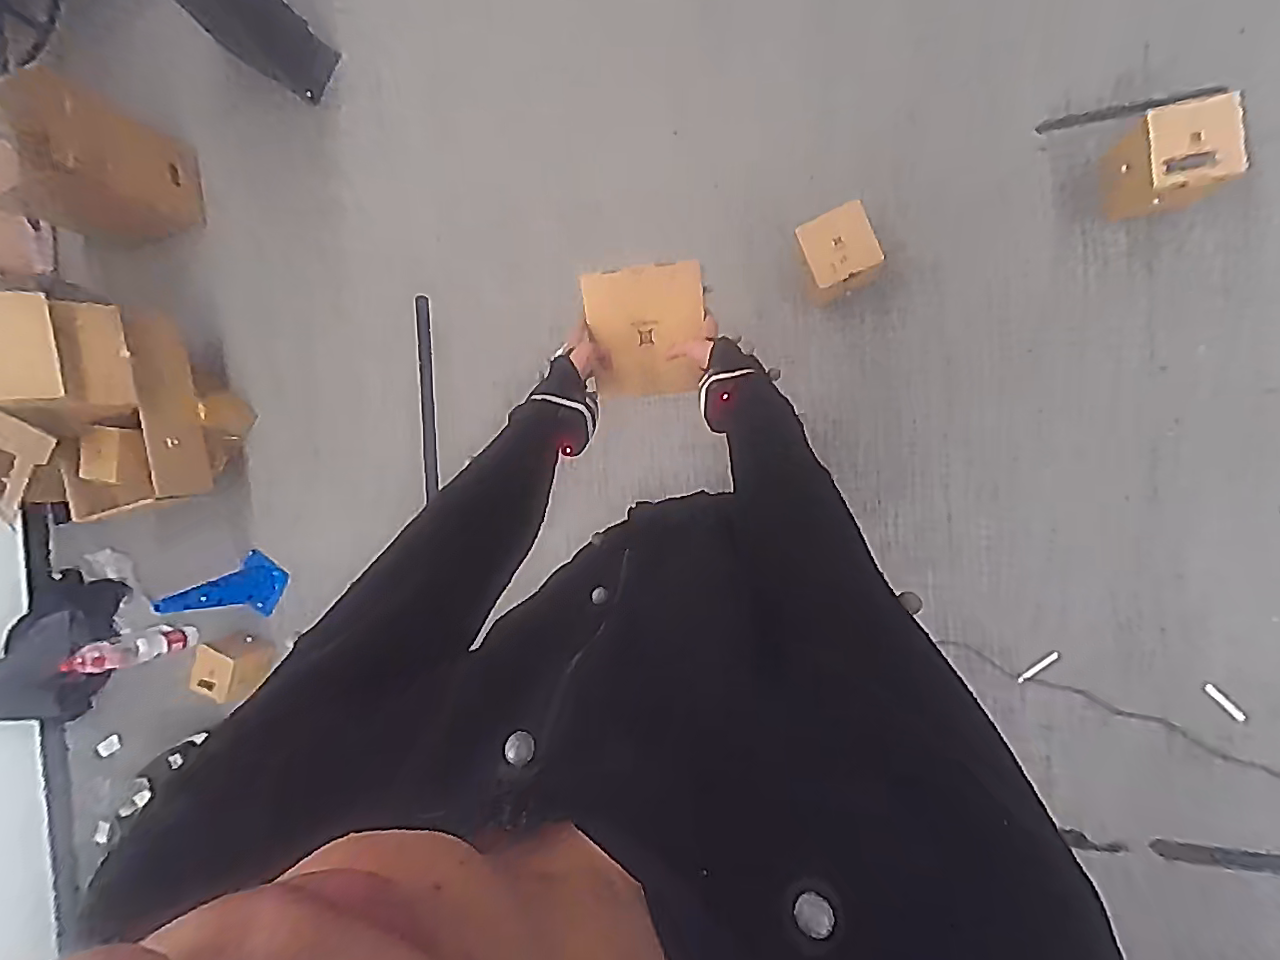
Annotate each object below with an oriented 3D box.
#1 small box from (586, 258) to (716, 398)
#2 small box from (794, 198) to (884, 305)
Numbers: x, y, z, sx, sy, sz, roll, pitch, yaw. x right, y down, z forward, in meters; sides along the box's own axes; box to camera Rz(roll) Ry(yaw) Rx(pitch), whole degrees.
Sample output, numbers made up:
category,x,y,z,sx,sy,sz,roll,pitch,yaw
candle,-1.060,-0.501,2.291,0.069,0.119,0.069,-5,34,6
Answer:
category,x,y,z,sx,sy,sz,roll,pitch,yaw
small box,0.027,-0.232,0.817,0.168,0.176,0.179,-4,109,10
small box,0.514,-0.590,1.422,0.168,0.176,0.179,-22,87,15
